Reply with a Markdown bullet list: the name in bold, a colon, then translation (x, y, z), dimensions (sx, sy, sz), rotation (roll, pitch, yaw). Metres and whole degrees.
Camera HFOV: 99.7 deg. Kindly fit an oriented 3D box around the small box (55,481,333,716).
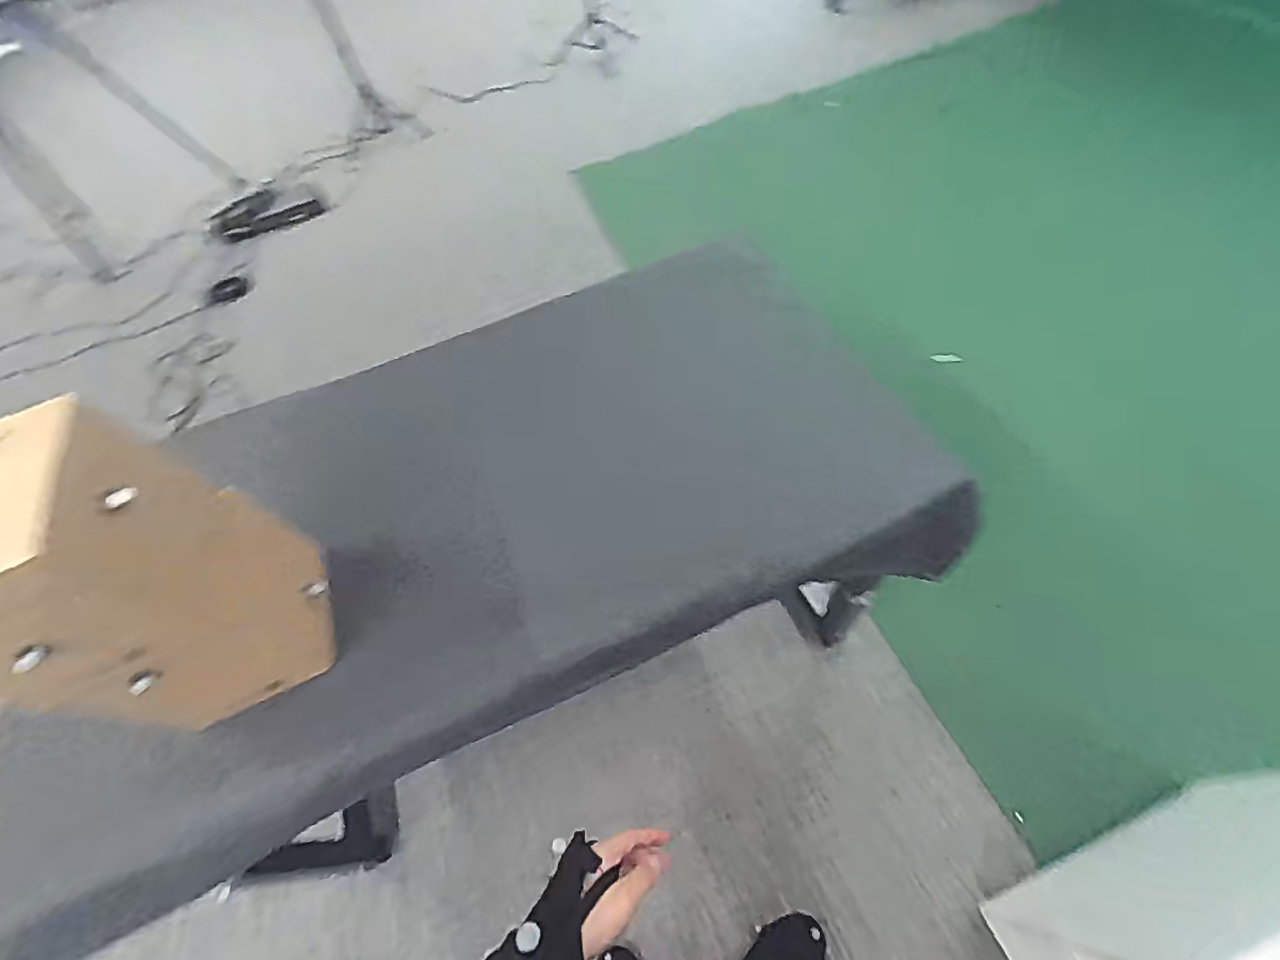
- **small box**: translation (-0.476, 0.137, 0.609), dimensions (0.168, 0.176, 0.179), rotation (-24, 57, -7)
